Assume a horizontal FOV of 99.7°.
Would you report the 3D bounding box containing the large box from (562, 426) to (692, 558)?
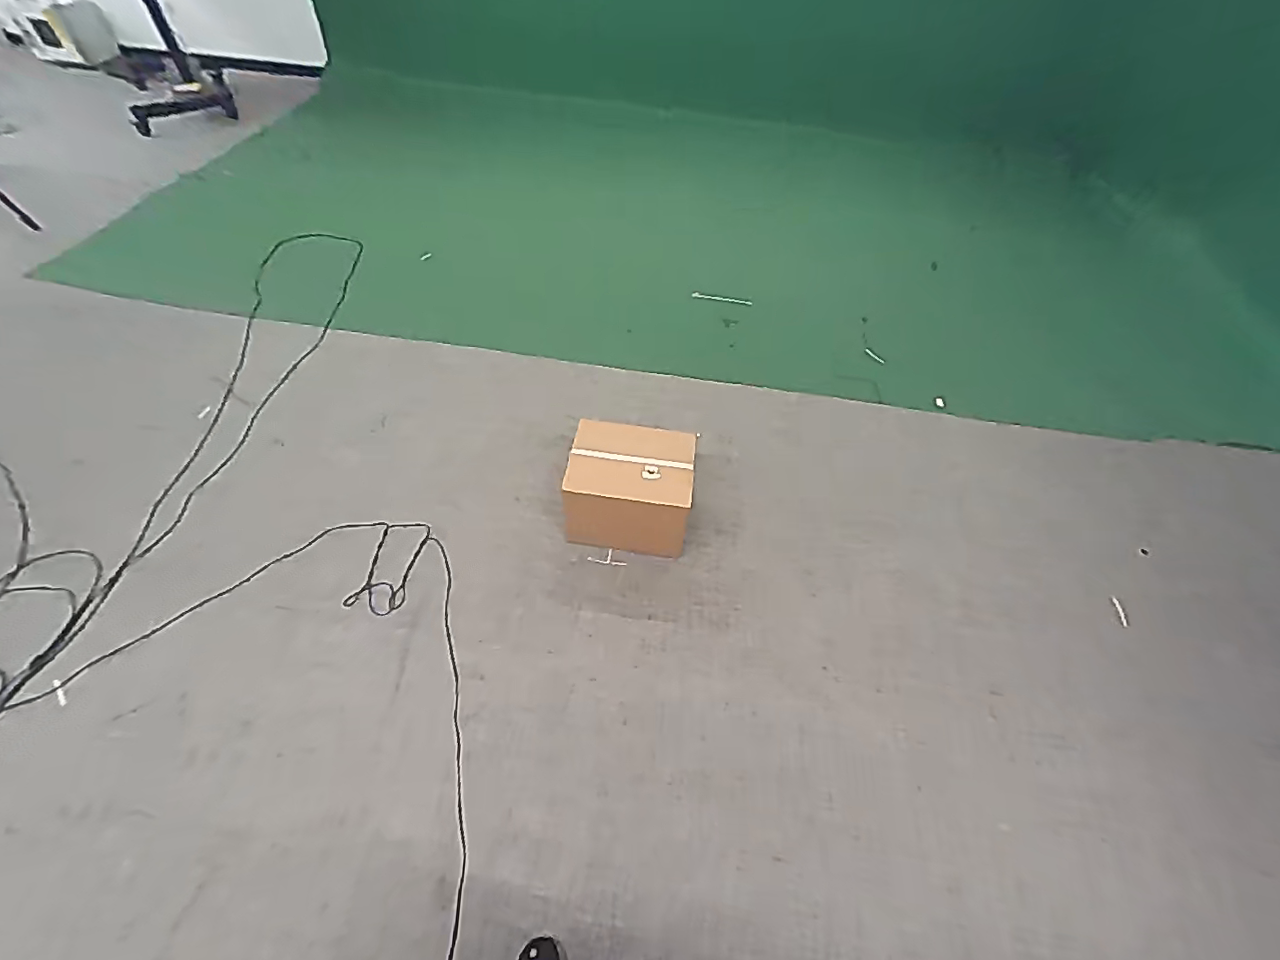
[{"bbox_3d":[-0.045,0.046,1.876,0.408,0.320,0.320,7,51,1],"label":"large box"}]
